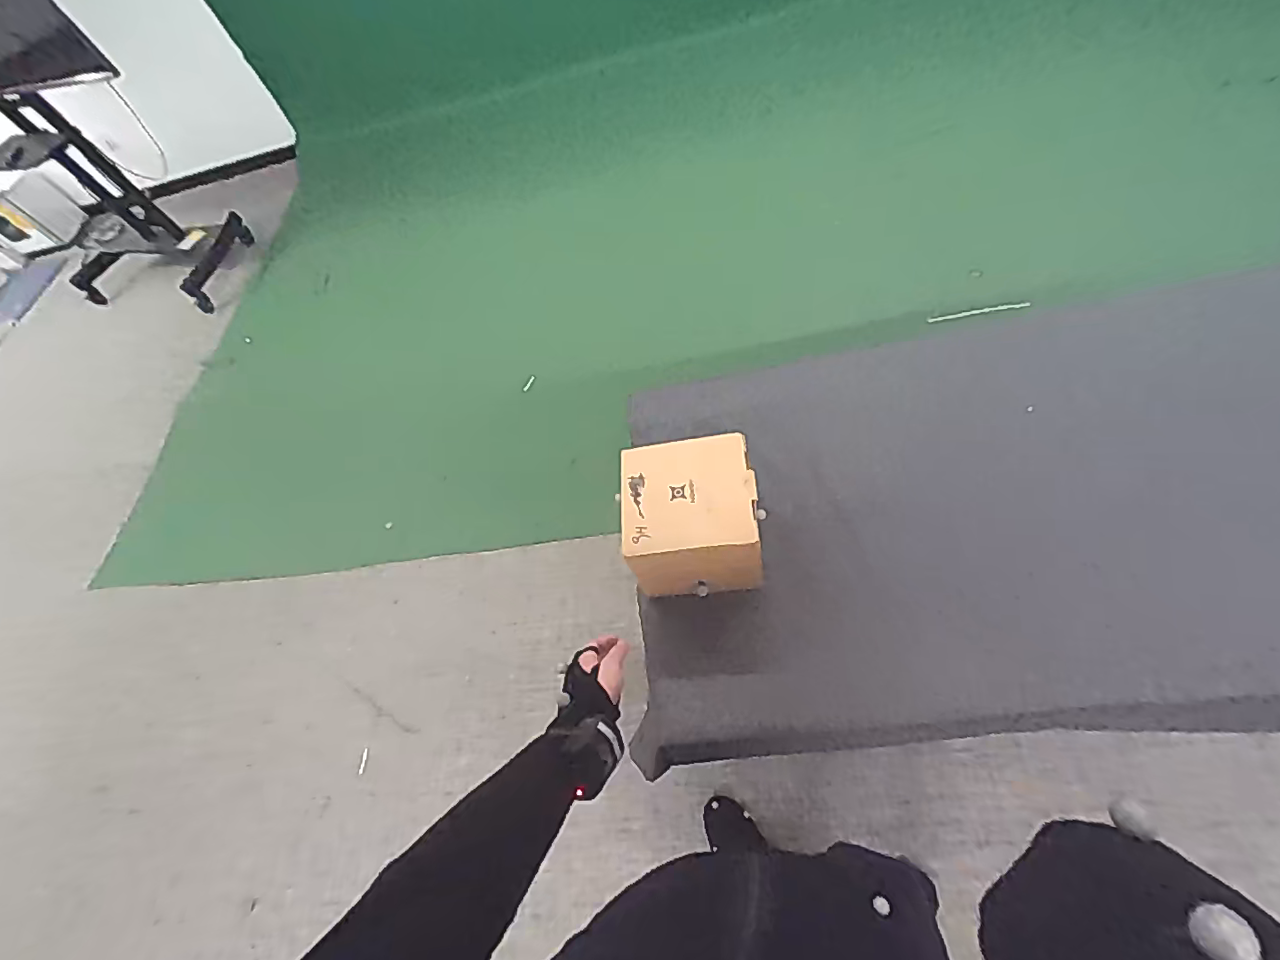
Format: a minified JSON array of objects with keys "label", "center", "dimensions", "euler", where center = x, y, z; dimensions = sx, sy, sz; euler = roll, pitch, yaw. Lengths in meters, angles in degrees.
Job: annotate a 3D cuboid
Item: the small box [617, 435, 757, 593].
[{"label":"small box","center":[0.071,0.056,0.777],"dimensions":[0.179,0.176,0.168],"euler":[-7,59,10]}]
